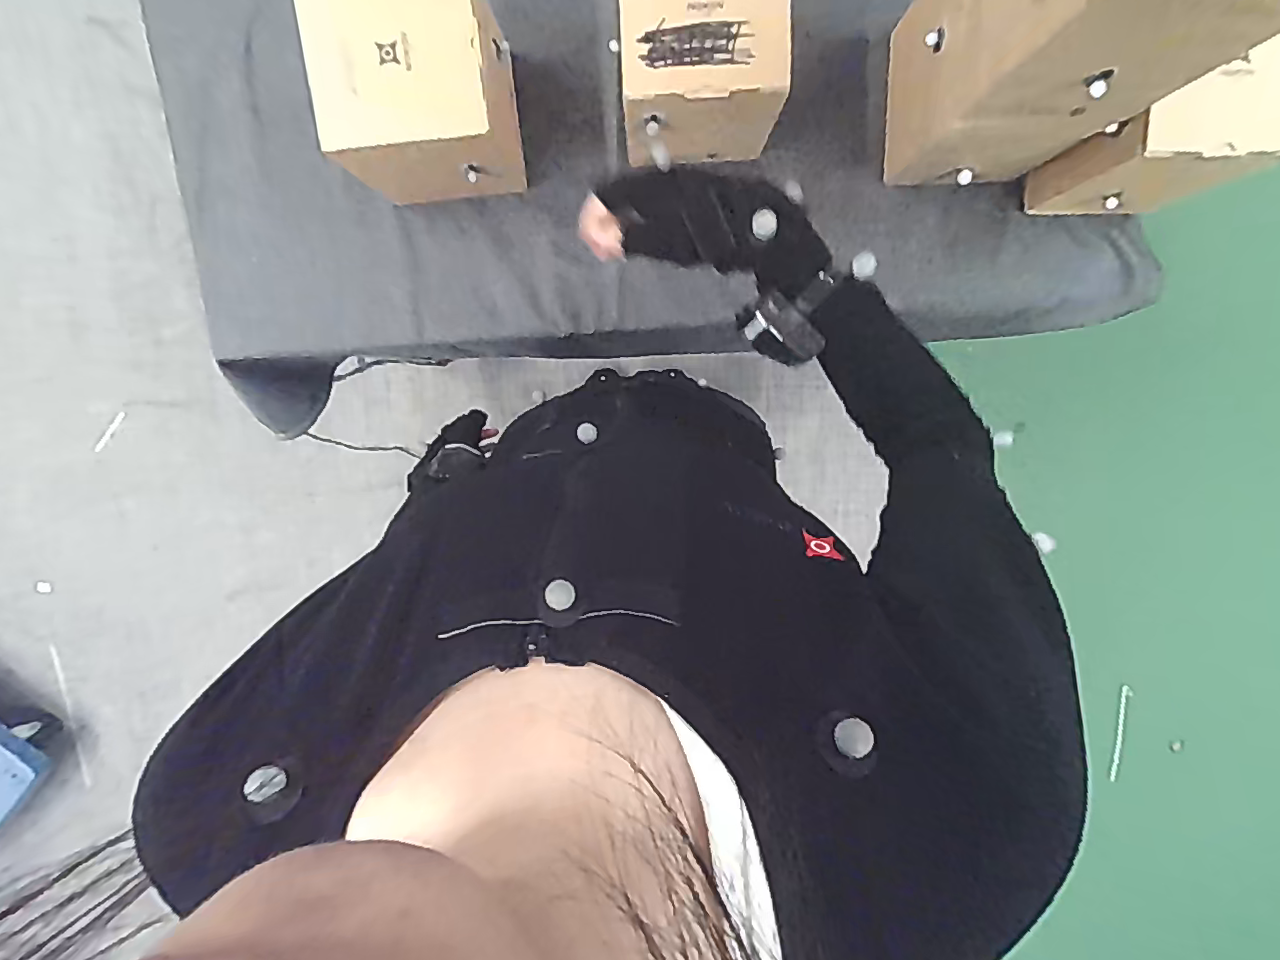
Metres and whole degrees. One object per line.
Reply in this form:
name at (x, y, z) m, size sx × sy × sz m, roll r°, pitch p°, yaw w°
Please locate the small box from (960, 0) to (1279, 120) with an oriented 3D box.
small box at (0.389, -0.420, 0.436) m, size 0.168 × 0.176 × 0.179 m, roll 0°, pitch 99°, yaw 1°
